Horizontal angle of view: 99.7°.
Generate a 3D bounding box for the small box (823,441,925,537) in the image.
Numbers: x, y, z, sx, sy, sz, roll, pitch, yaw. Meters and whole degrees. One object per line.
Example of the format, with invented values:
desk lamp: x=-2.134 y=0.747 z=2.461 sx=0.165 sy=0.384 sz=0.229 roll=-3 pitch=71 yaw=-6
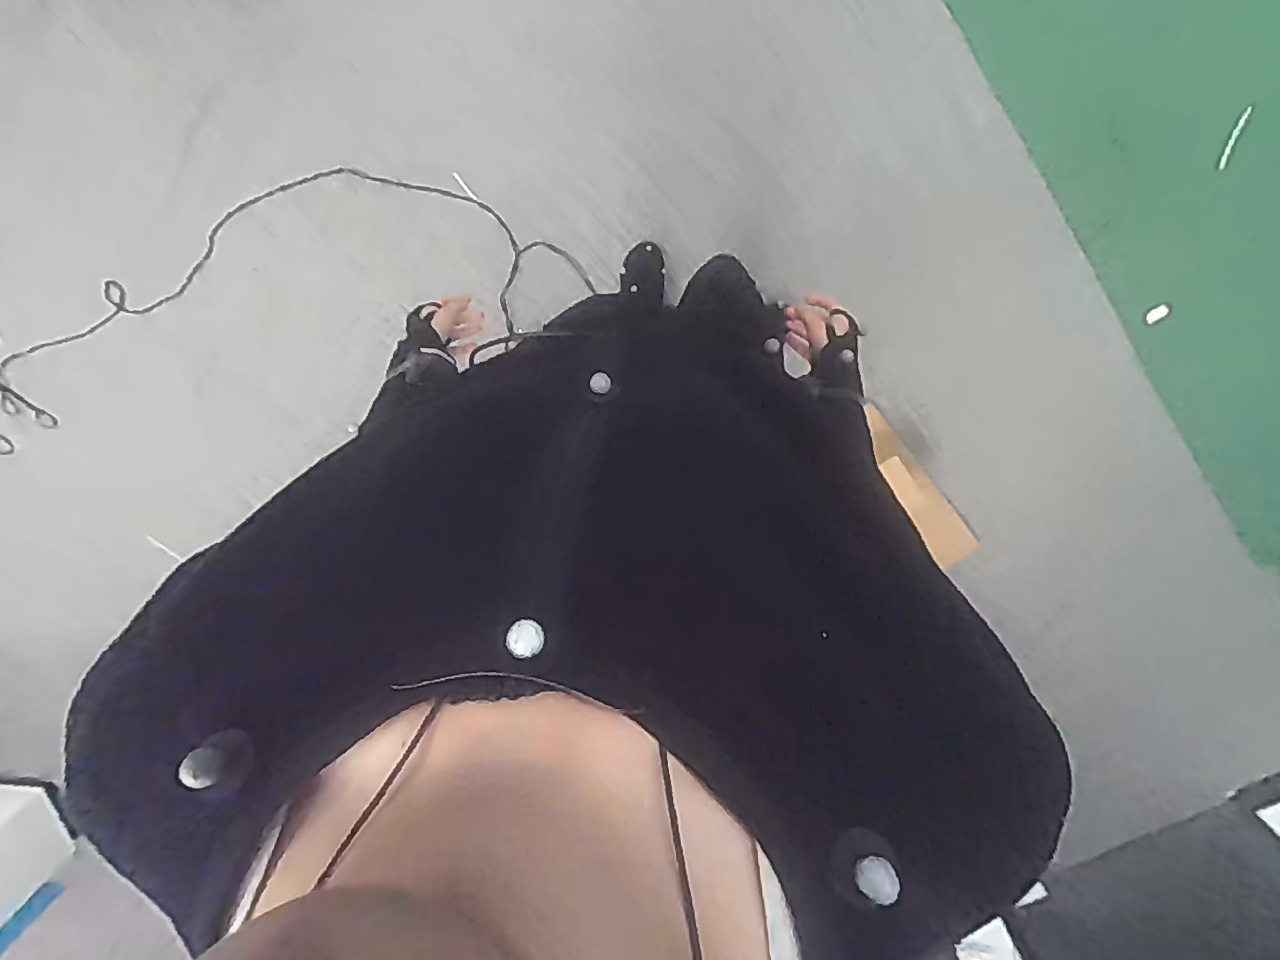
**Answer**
small box: x=0.619 y=0.015 z=1.450 sx=0.168 sy=0.176 sz=0.179 roll=-33 pitch=108 yaw=16
